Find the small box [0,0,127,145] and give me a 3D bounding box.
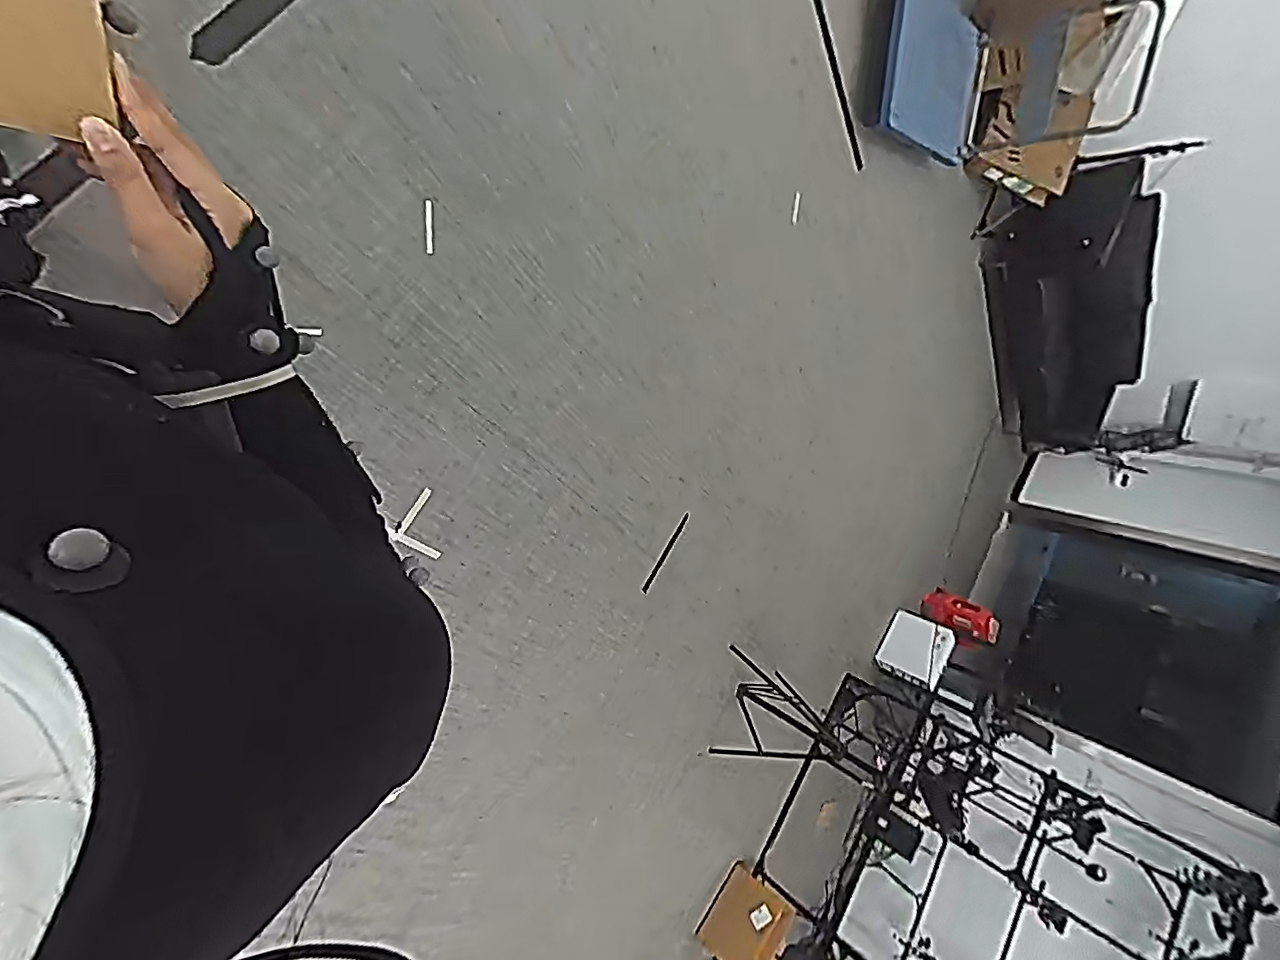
[{"bbox_3d":[-0.366,-0.285,0.248,0.179,0.176,0.168,-6,127,-40],"label":"small box"}]
